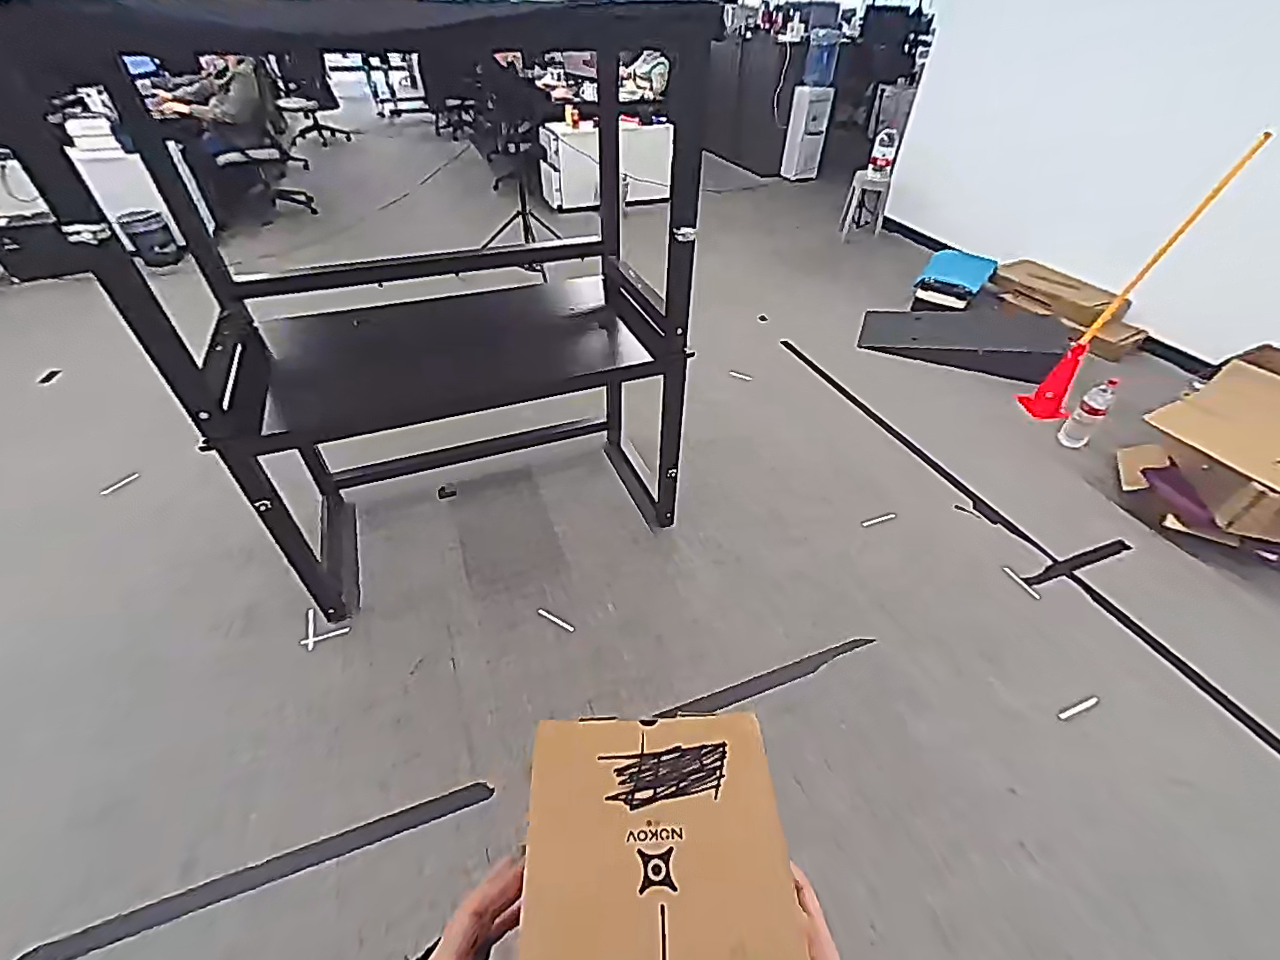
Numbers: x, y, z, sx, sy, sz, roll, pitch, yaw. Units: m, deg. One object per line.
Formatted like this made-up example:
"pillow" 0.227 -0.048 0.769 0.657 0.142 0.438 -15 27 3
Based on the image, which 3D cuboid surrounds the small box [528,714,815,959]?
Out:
"small box" 0.012 0.295 0.396 0.168 0.176 0.179 0 42 -4
